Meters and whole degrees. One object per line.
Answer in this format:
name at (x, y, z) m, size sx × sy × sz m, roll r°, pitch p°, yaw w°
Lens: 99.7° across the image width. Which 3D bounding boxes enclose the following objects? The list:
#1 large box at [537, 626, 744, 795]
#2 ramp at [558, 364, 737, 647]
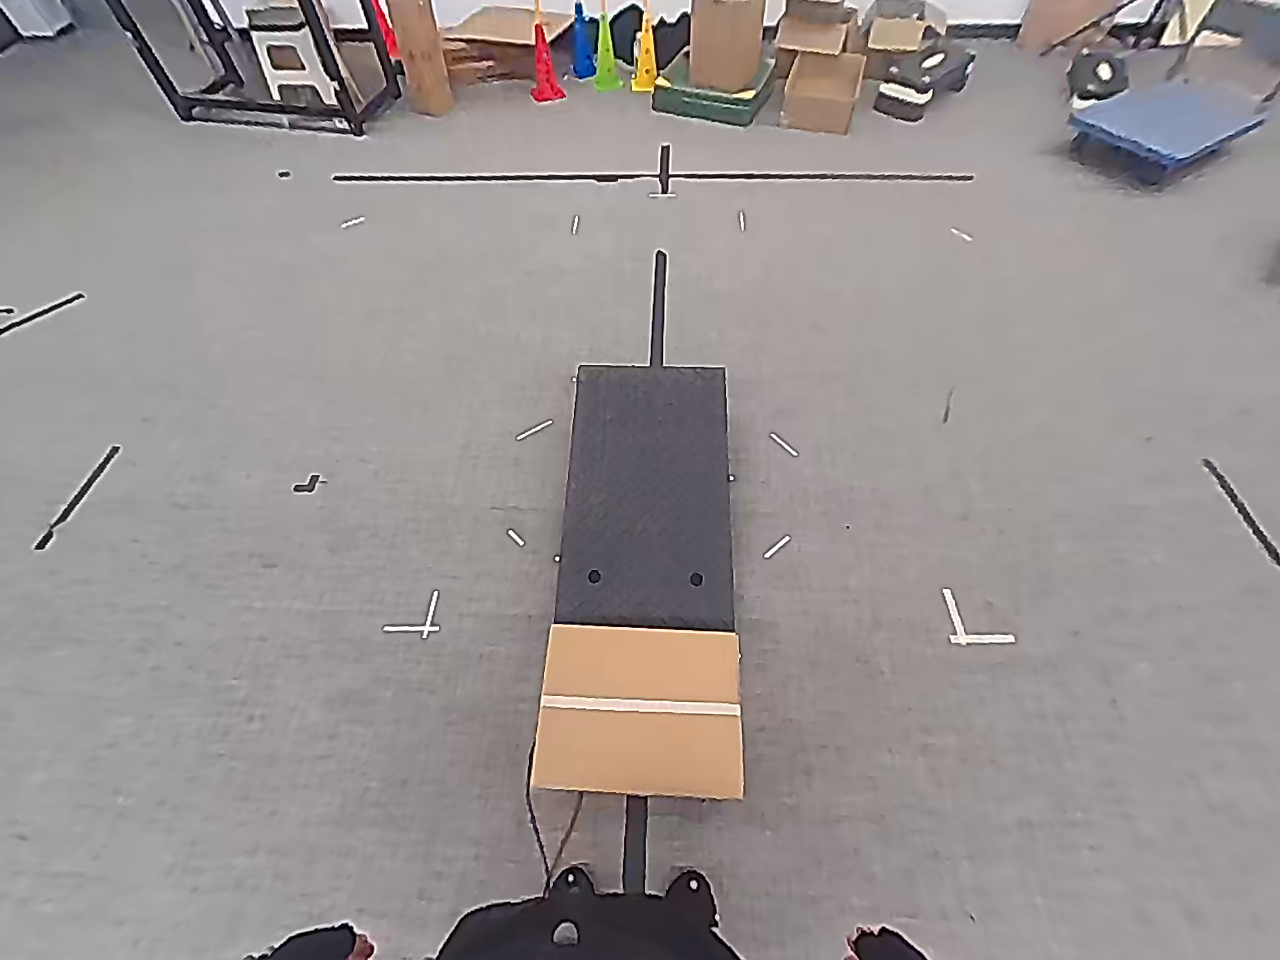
large box at (0.009, 0.528, 1.229) m, size 0.408 × 0.320 × 0.320 m, roll 2°, pitch 60°, yaw 2°
ramp at (0.030, 0.078, 1.610) m, size 0.509 × 0.206 × 0.991 m, roll 0°, pitch 56°, yaw 0°
